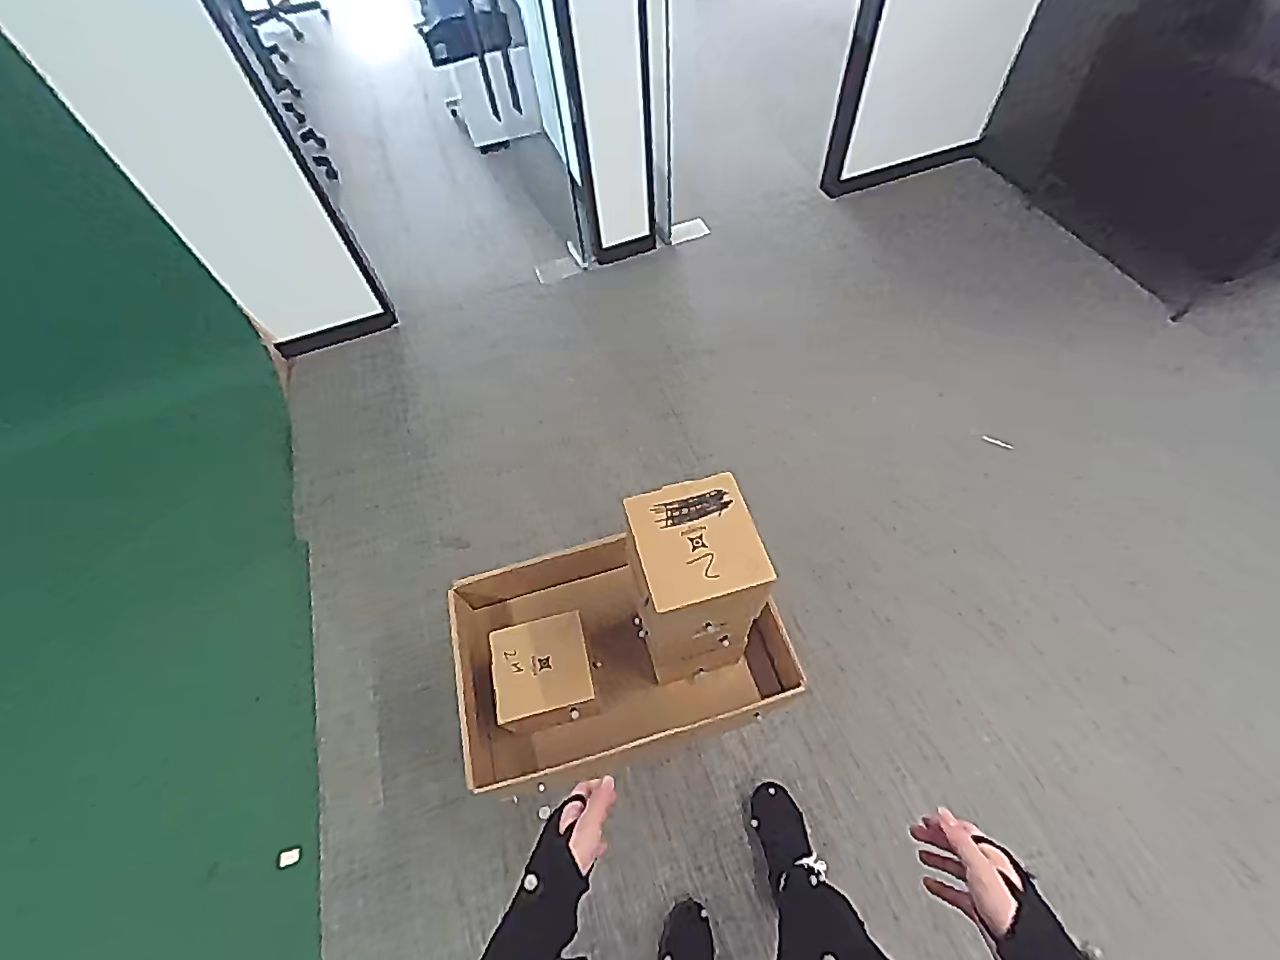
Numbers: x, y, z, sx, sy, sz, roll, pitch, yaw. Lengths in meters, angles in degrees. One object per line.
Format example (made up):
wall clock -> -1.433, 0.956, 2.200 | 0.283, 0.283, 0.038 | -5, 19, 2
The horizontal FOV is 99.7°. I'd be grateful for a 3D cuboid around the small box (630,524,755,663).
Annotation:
small box -> 0.086, 0.206, 0.940 | 0.168, 0.176, 0.179 | -14, 58, -6
